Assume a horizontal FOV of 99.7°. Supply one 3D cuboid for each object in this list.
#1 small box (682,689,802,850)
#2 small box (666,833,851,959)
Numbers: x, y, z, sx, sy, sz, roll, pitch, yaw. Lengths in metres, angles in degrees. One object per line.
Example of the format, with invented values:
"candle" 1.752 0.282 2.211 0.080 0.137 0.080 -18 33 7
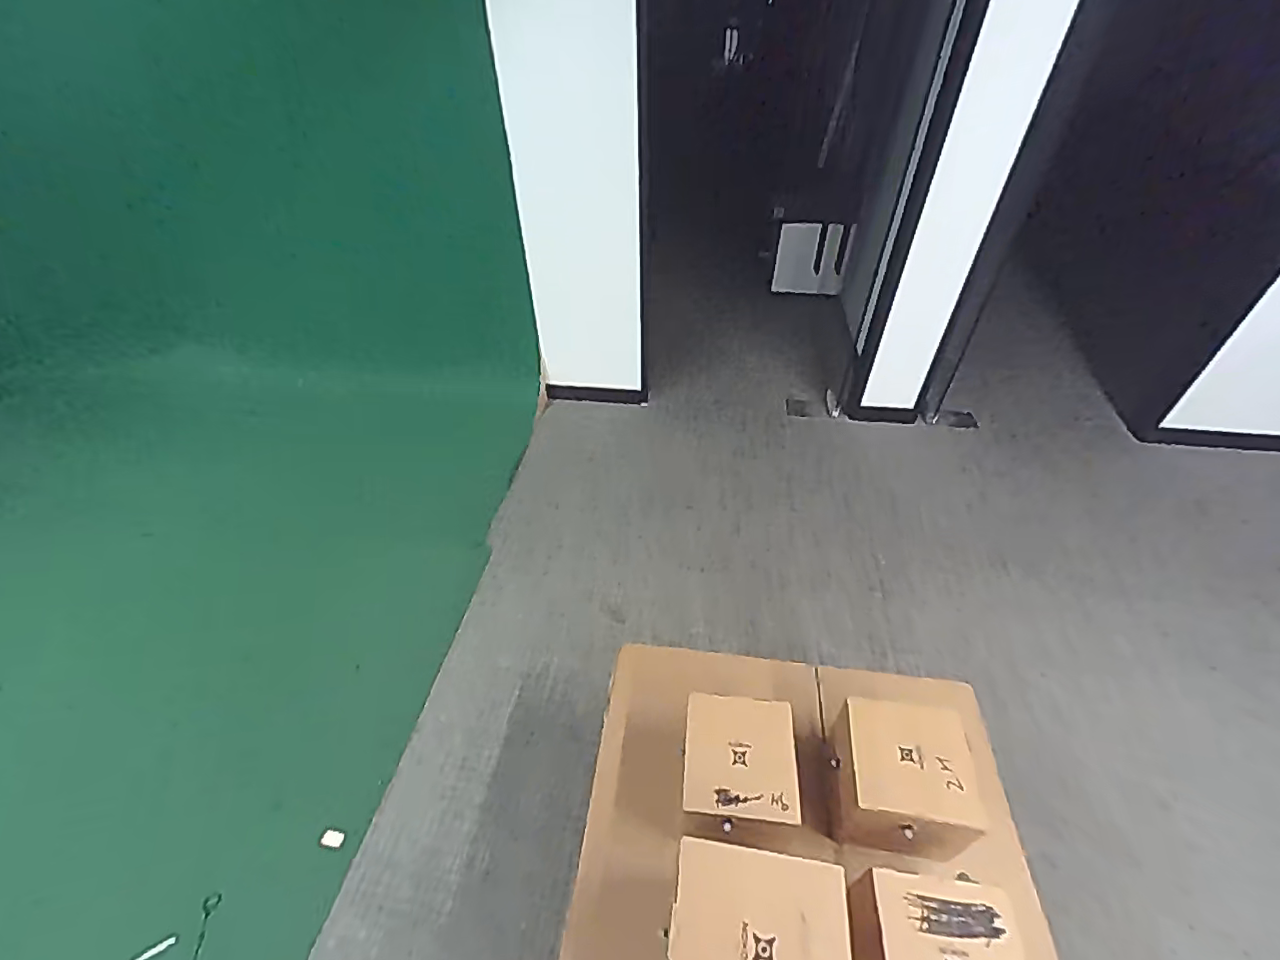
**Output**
"small box" 0.155 0.462 0.863 0.168 0.176 0.179 2 42 7
"small box" 0.119 0.508 0.580 0.179 0.176 0.168 6 45 8
